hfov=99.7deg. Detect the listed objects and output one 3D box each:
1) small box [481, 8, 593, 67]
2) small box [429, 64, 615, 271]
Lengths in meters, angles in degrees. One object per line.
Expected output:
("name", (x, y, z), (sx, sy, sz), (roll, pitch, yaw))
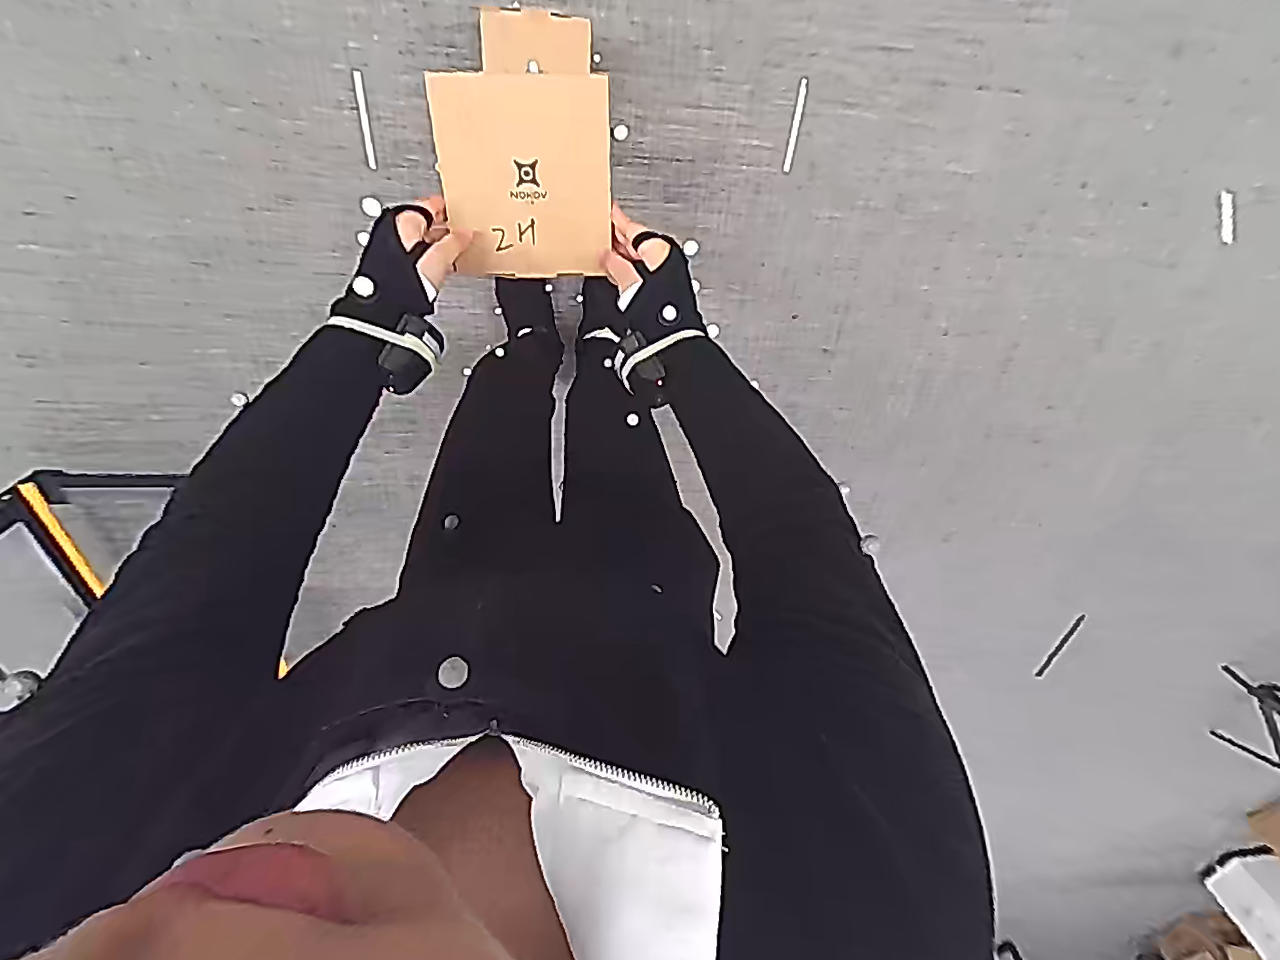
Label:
("small box", (-0.165, -0.657, 0.905), (0.168, 0.176, 0.179), (2, 126, -5))
("small box", (-0.113, -0.340, 0.596), (0.168, 0.176, 0.179), (0, 124, -2))
